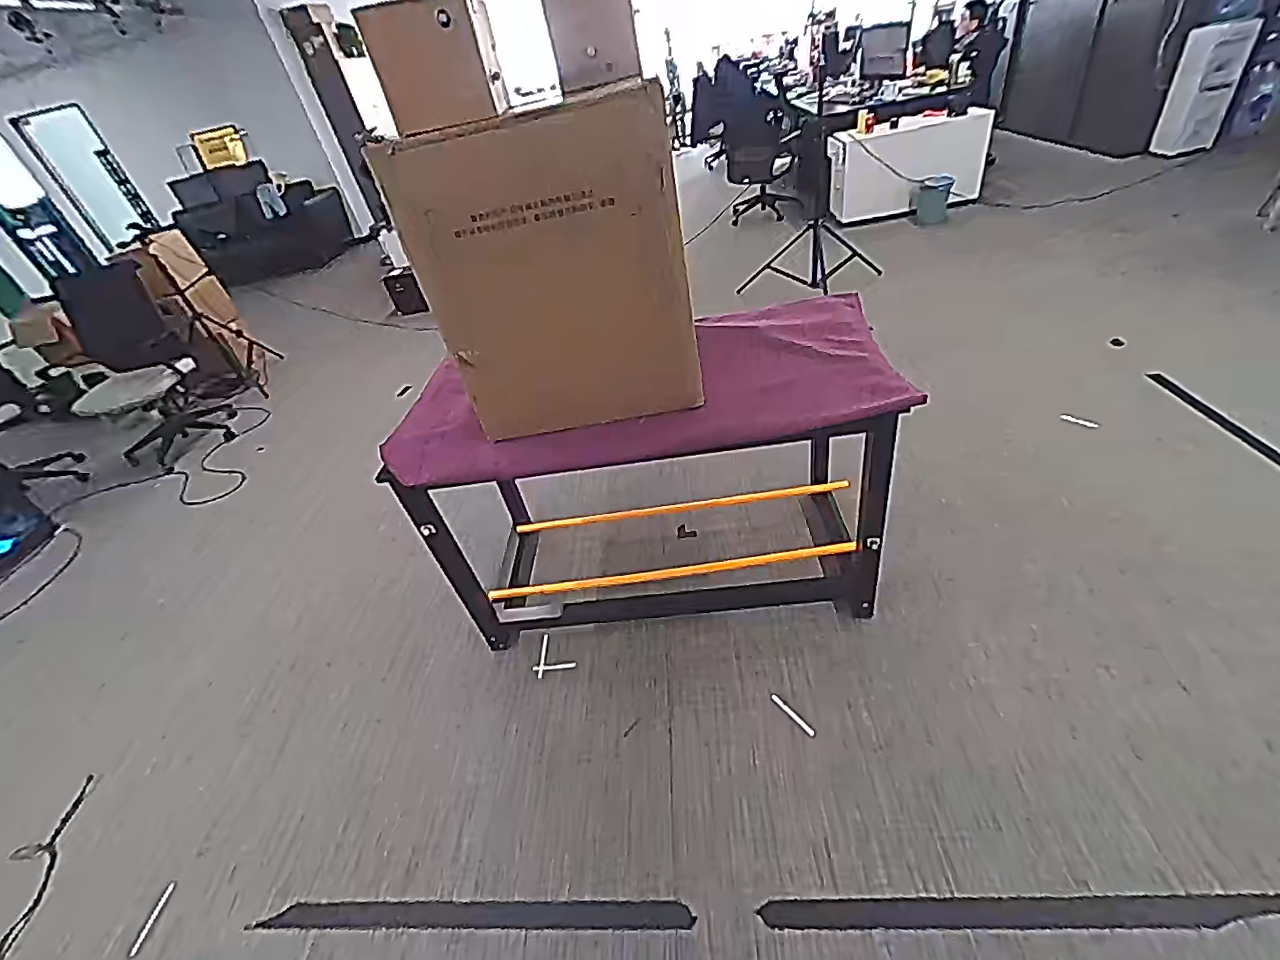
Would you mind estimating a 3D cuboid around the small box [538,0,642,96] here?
[{"bbox_3d":[-0.092,-0.873,1.063,0.168,0.176,0.179,-8,39,8],"label":"small box"}]
